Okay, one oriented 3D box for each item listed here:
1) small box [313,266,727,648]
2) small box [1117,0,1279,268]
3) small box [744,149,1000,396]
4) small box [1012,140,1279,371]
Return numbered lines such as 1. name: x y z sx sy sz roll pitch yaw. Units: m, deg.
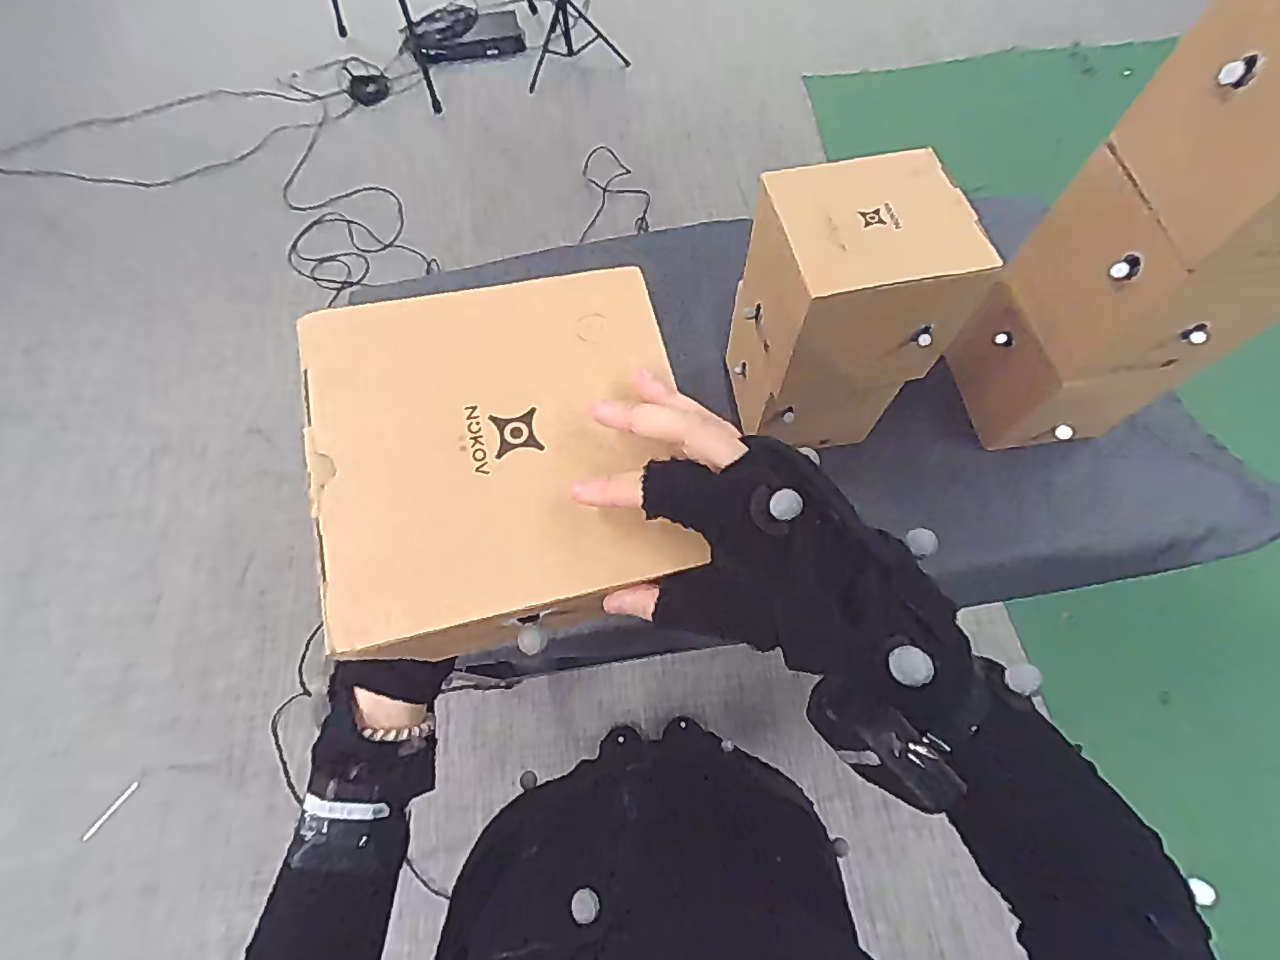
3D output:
1. small box: -0.067 0.000 0.336 0.179 0.176 0.168 -13 74 -8
2. small box: 0.536 -0.294 0.418 0.168 0.176 0.179 -4 65 2
3. small box: 0.224 -0.211 0.577 0.179 0.176 0.168 -10 65 -2
4. small box: 0.544 -0.229 0.569 0.168 0.176 0.179 -6 66 0
